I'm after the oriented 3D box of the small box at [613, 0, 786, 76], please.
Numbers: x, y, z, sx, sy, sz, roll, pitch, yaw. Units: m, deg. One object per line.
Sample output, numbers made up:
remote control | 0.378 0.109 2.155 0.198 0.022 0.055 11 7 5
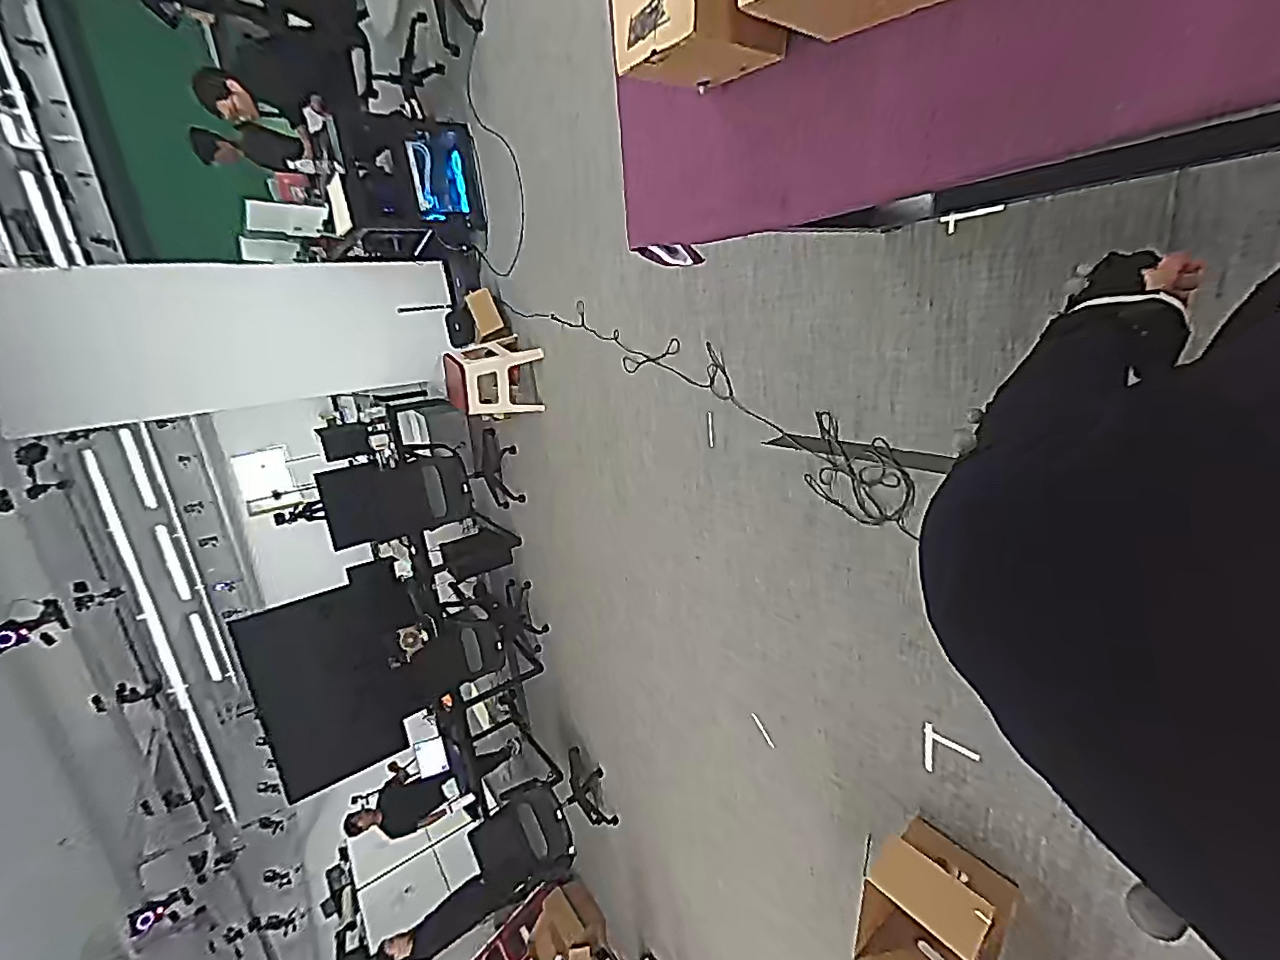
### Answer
small box | 0.078 -0.656 0.708 0.168 0.176 0.179 24 124 49
